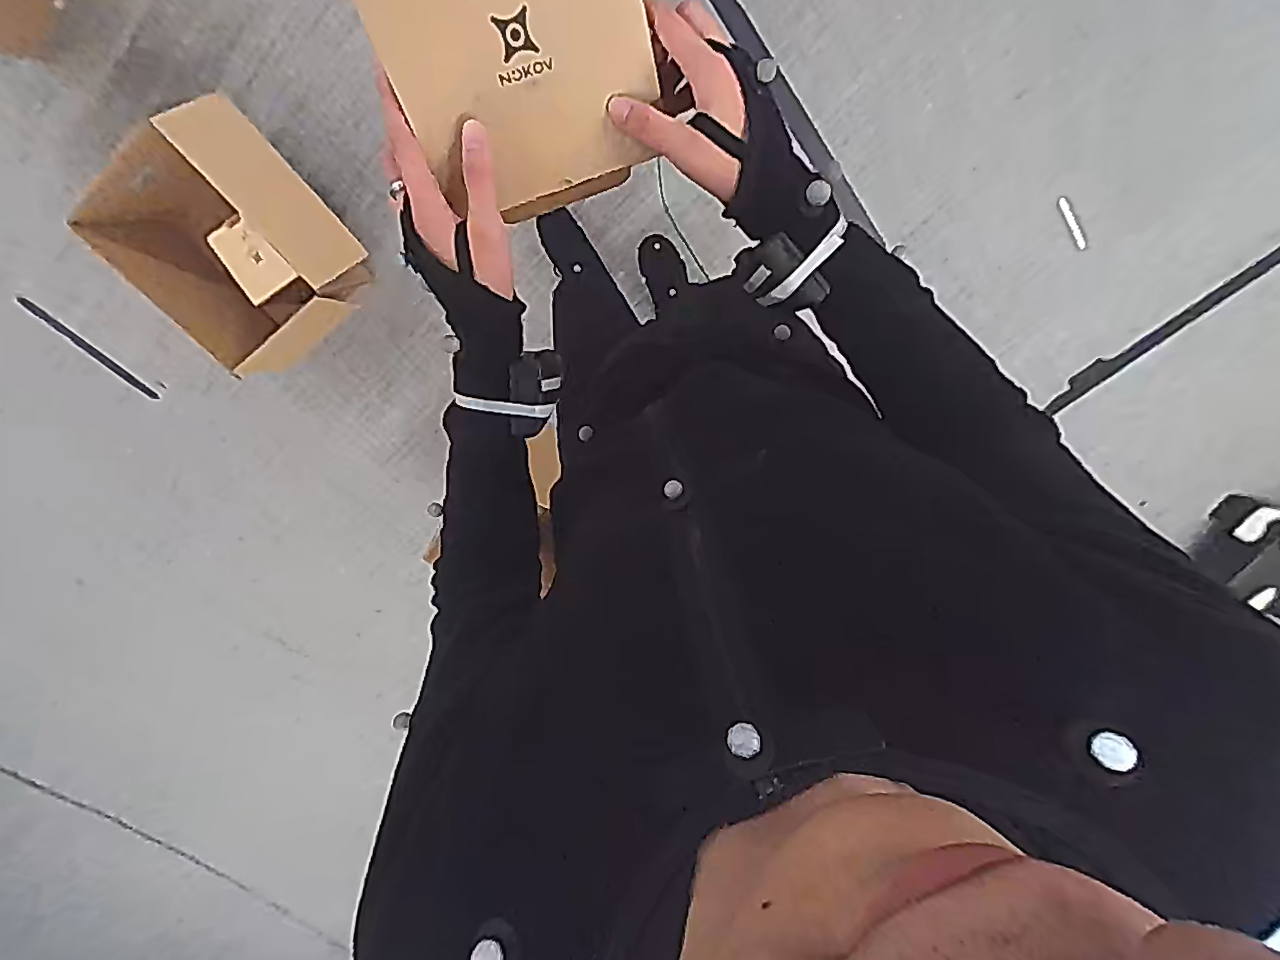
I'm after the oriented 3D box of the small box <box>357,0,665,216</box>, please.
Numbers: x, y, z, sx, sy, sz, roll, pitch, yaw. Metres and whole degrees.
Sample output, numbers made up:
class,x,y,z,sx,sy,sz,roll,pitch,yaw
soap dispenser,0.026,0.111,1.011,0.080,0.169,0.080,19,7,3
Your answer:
class,x,y,z,sx,sy,sz,roll,pitch,yaw
small box,-0.094,-0.325,0.388,0.168,0.176,0.179,-19,133,-1
